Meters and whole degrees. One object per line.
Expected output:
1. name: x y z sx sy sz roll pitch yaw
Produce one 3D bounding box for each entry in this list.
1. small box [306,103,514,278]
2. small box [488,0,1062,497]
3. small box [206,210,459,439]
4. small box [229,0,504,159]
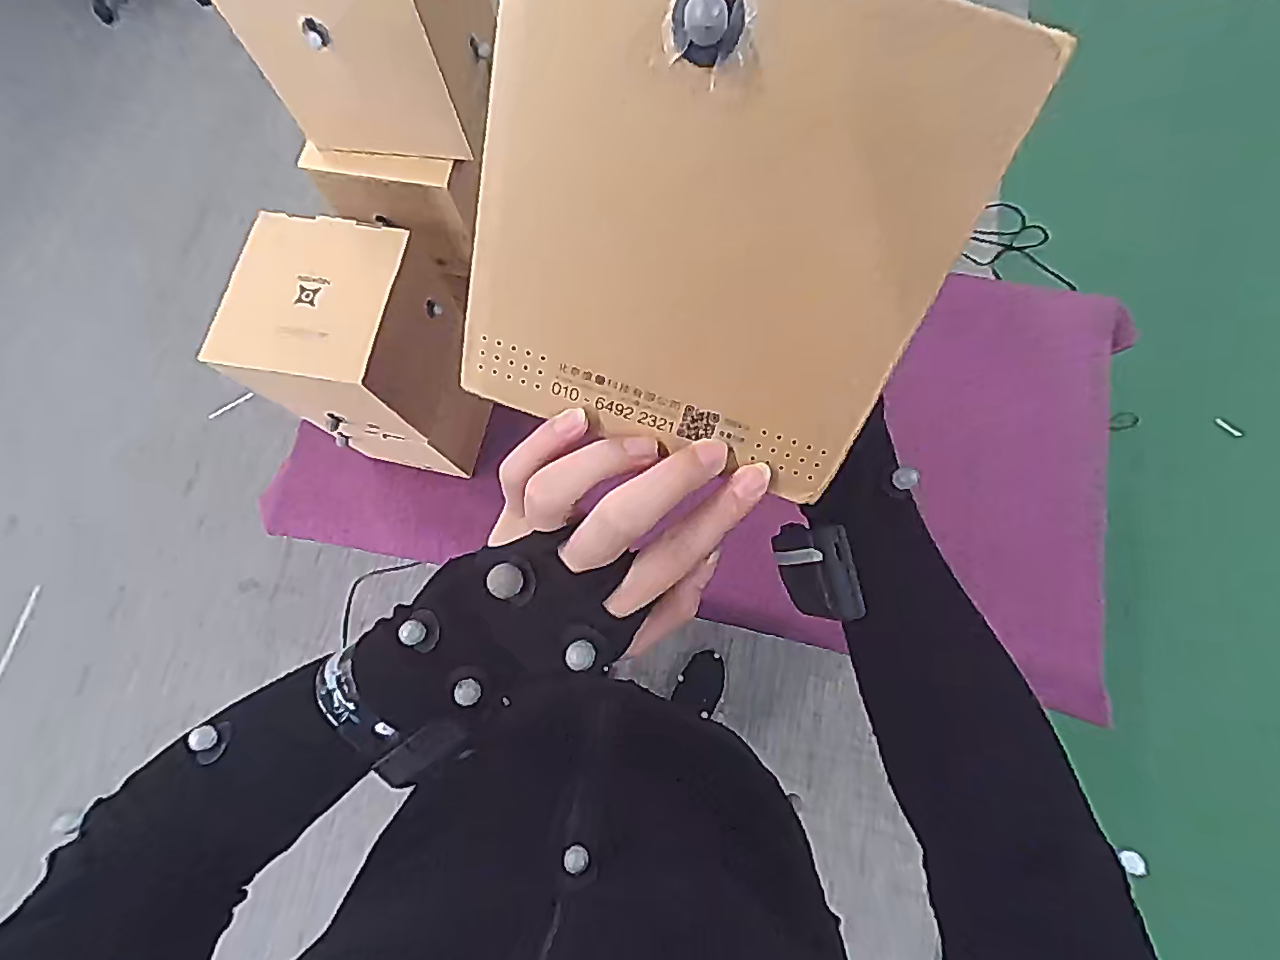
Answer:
1. small box: -0.262 -0.377 0.667 0.168 0.176 0.179 9 76 3
2. small box: 0.038 -0.121 0.269 0.168 0.179 0.176 19 121 1
3. small box: -0.323 -0.164 0.613 0.168 0.176 0.179 10 76 3
4. small box: -0.247 -0.440 0.514 0.179 0.176 0.168 6 76 2
